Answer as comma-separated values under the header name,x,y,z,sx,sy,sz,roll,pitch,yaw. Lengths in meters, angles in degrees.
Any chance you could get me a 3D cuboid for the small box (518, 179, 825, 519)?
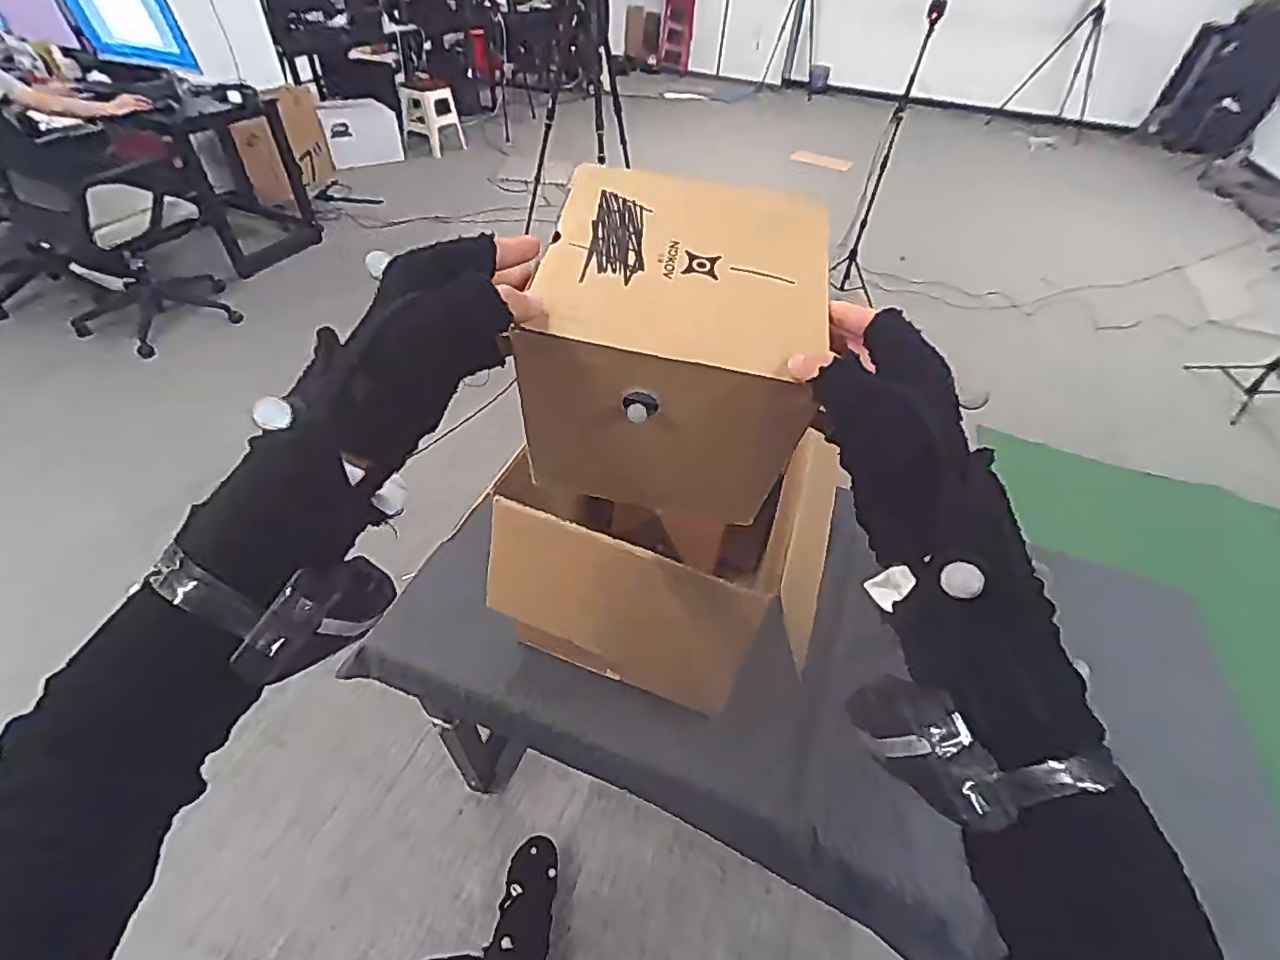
name,x,y,z,sx,sy,sz,roll,pitch,yaw
small box,0.023,-0.087,0.406,0.179,0.176,0.168,11,59,1
